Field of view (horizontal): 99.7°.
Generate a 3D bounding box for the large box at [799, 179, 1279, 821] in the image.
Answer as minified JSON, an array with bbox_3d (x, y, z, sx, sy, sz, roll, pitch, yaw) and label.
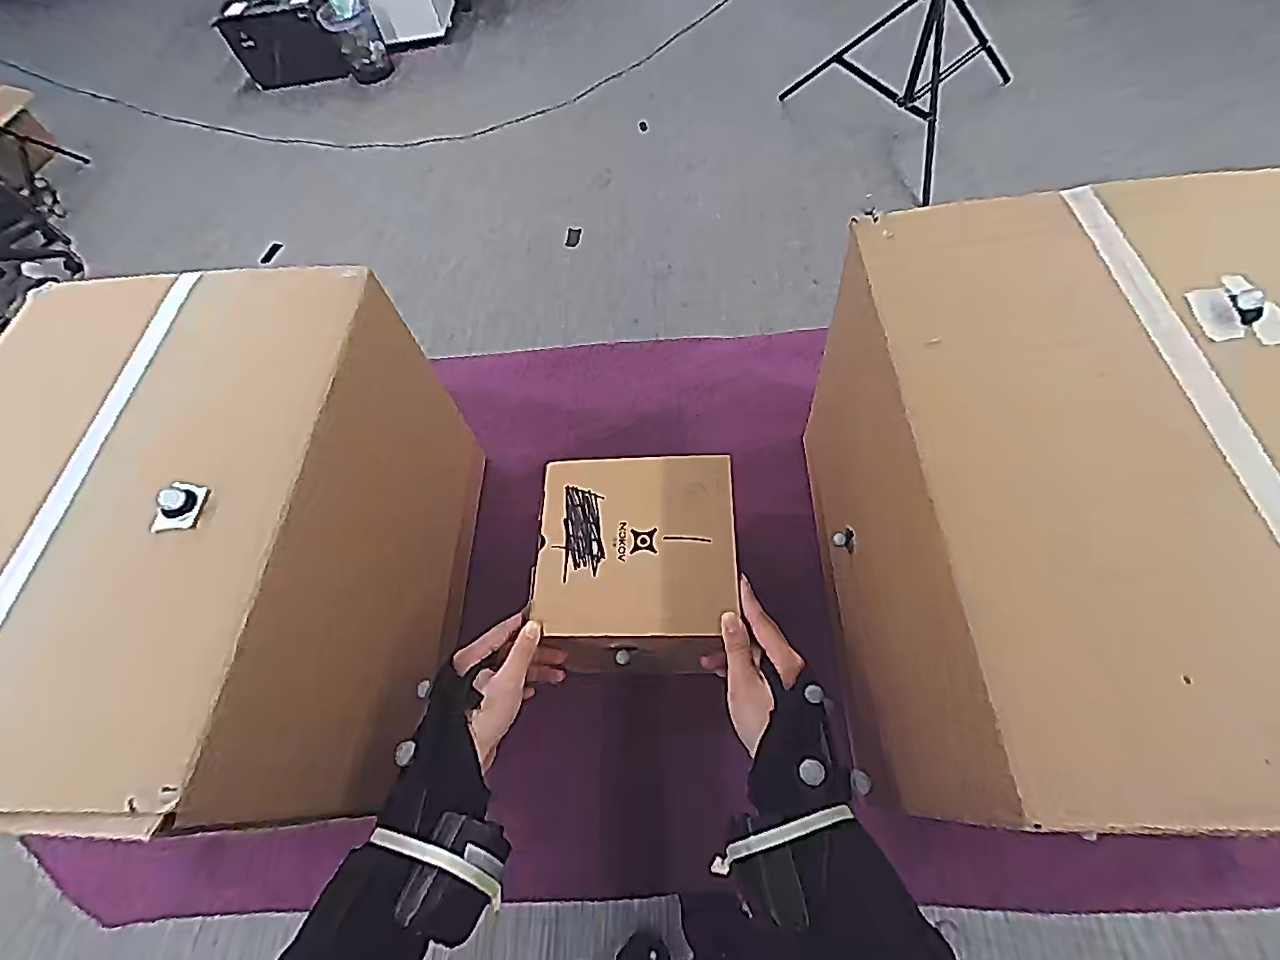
[{"bbox_3d":[0.330,0.035,0.440,0.320,0.320,0.408,-3,59,5],"label":"large box"}]
